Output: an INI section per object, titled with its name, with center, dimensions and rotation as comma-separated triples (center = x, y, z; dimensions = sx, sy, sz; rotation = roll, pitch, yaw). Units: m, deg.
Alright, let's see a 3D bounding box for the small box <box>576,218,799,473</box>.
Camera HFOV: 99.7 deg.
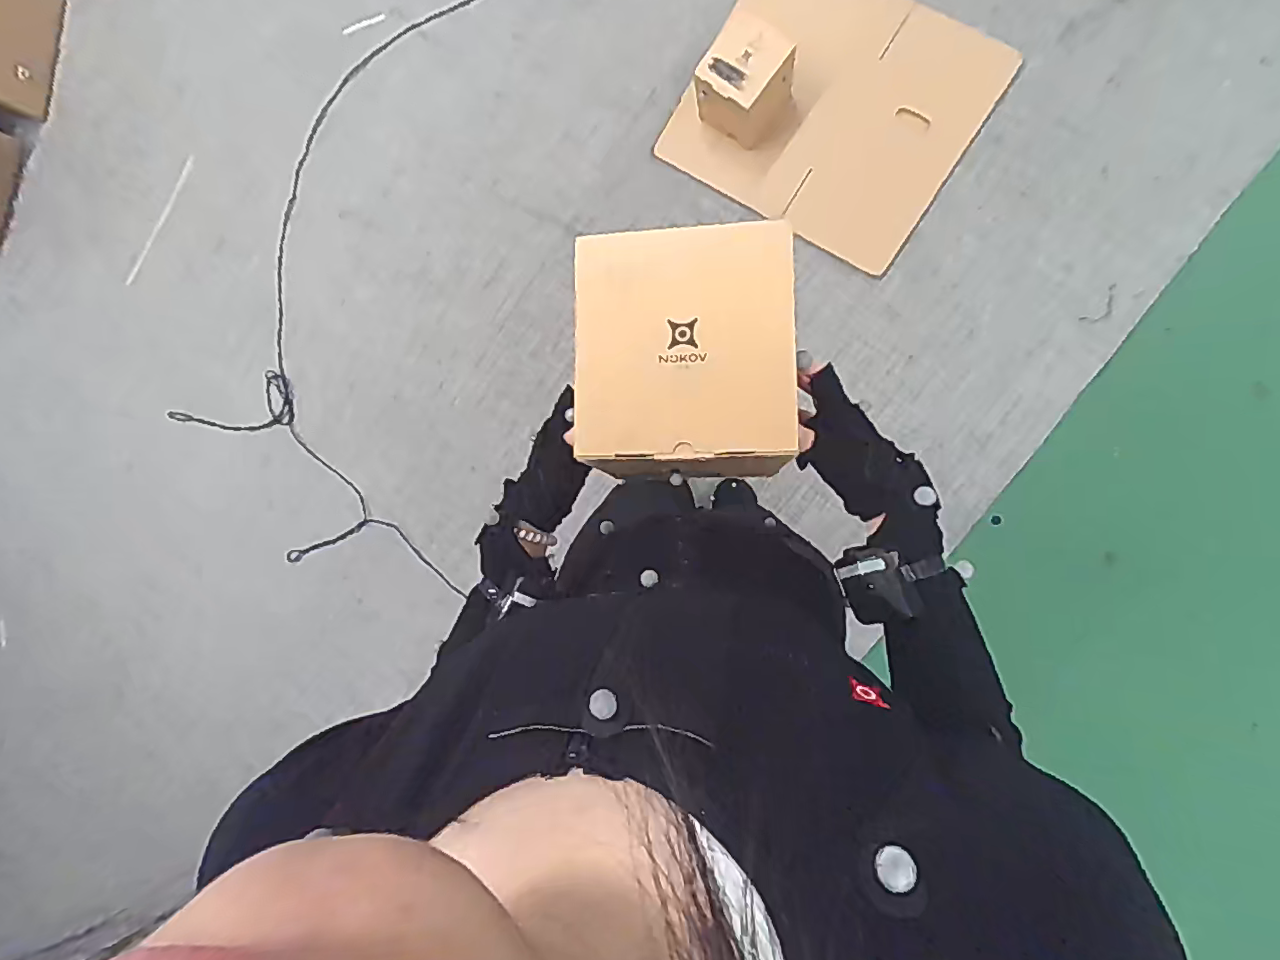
[small box]
center = 0.042, -0.101, 0.481
dimensions = 0.168, 0.176, 0.179
rotation = -1, 87, 8
